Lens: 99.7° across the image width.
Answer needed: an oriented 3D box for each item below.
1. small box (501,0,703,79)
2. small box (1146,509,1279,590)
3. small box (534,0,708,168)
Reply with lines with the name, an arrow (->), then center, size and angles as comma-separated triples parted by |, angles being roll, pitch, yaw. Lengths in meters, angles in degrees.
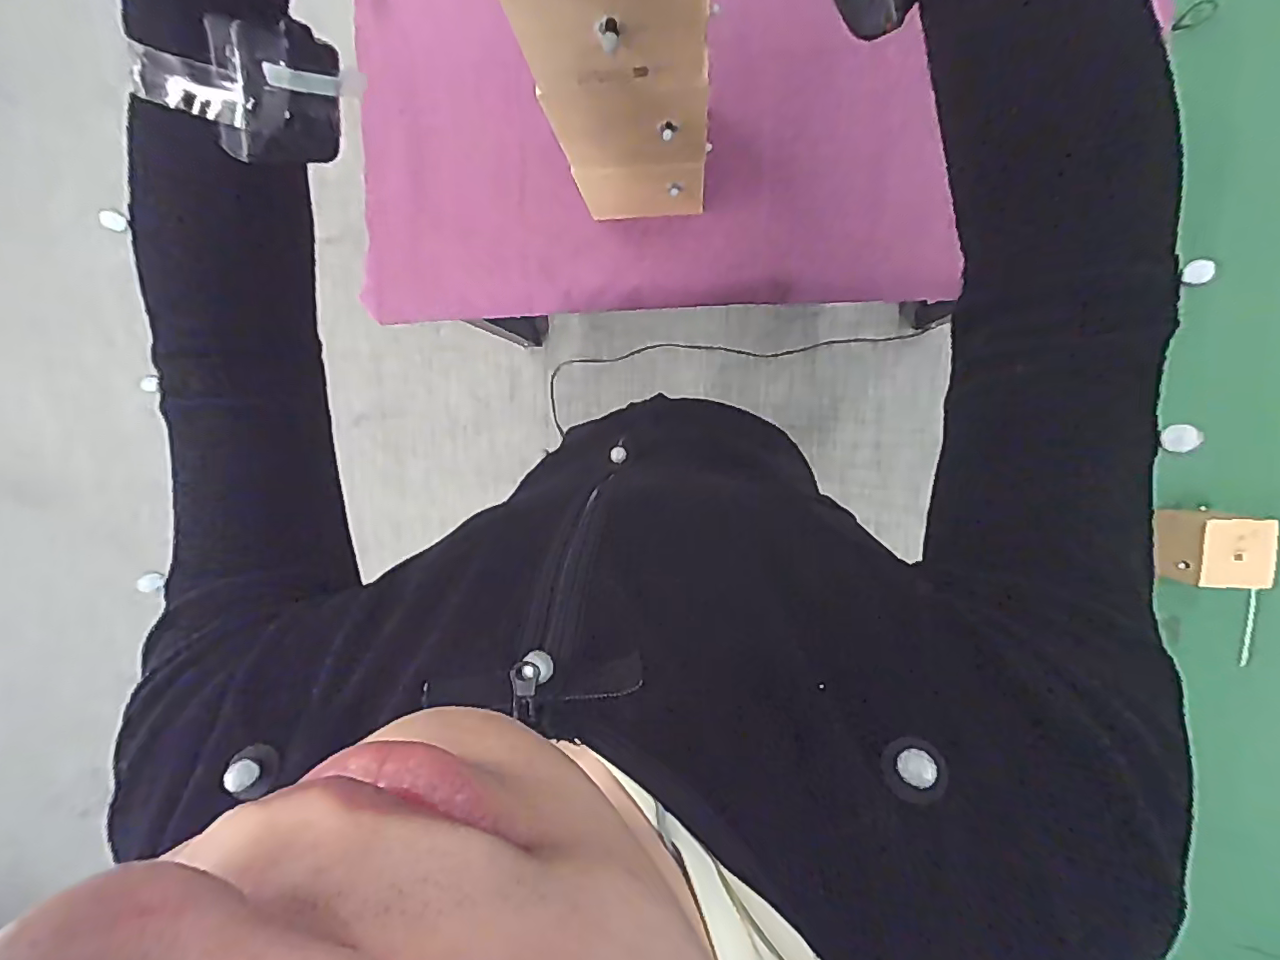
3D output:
small box -> -0.031, -0.471, 0.449 | 0.168, 0.176, 0.179 | -2, 95, 6
small box -> 1.478, 0.176, 1.409 | 0.168, 0.176, 0.179 | 1, 96, 6
small box -> -0.014, -0.479, 0.610 | 0.179, 0.176, 0.168 | -1, 95, 7
